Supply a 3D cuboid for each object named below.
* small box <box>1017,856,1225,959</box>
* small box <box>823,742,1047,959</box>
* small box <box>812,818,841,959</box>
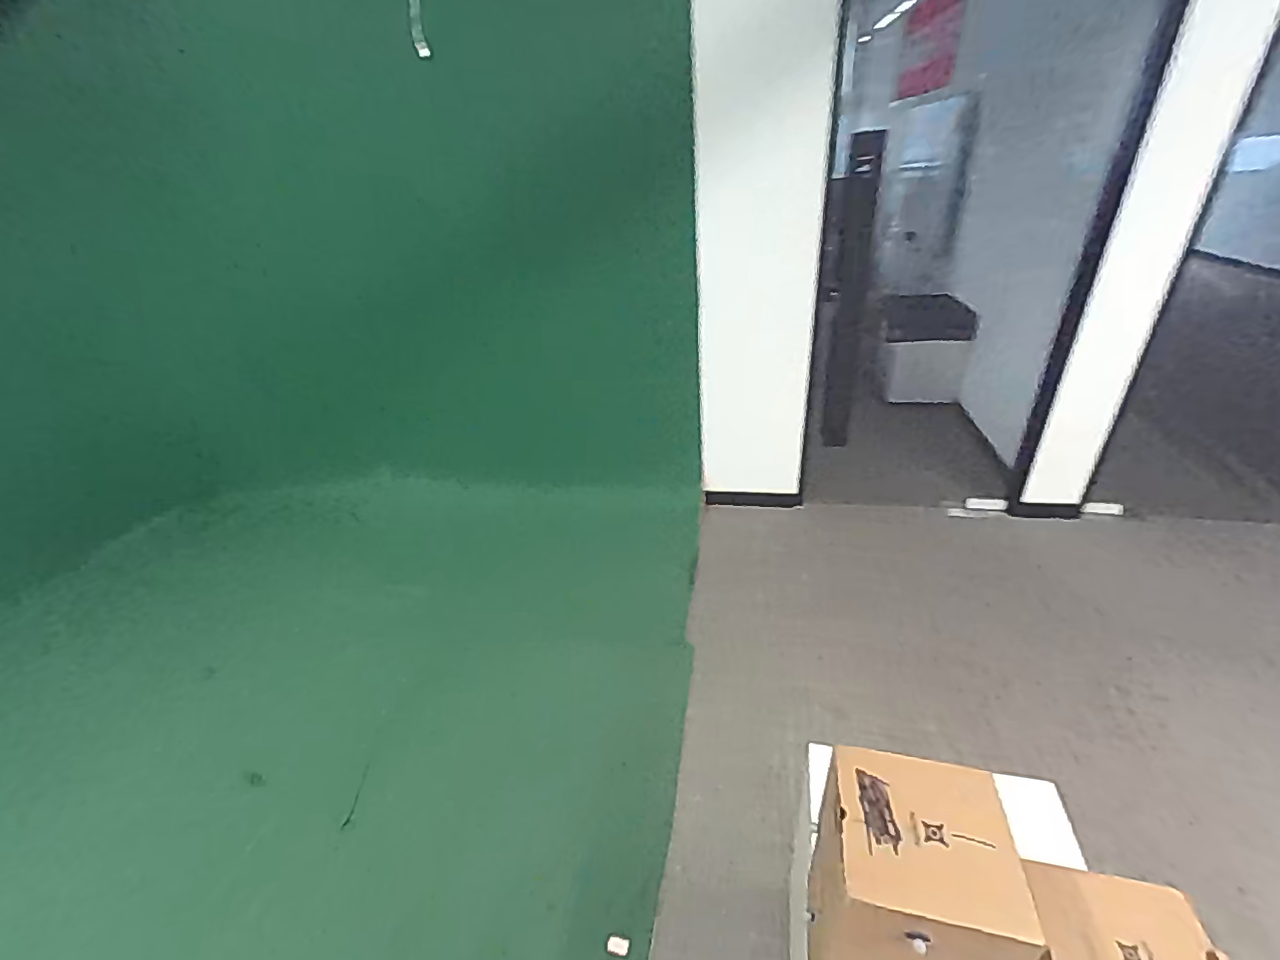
[{"bbox_3d":[0.556,0.592,0.638,0.179,0.176,0.168,2,31,16],"label":"small box"},{"bbox_3d":[0.306,0.434,0.610,0.179,0.176,0.168,6,33,13],"label":"small box"},{"bbox_3d":[0.316,0.577,0.692,0.179,0.176,0.168,5,33,14],"label":"small box"}]
